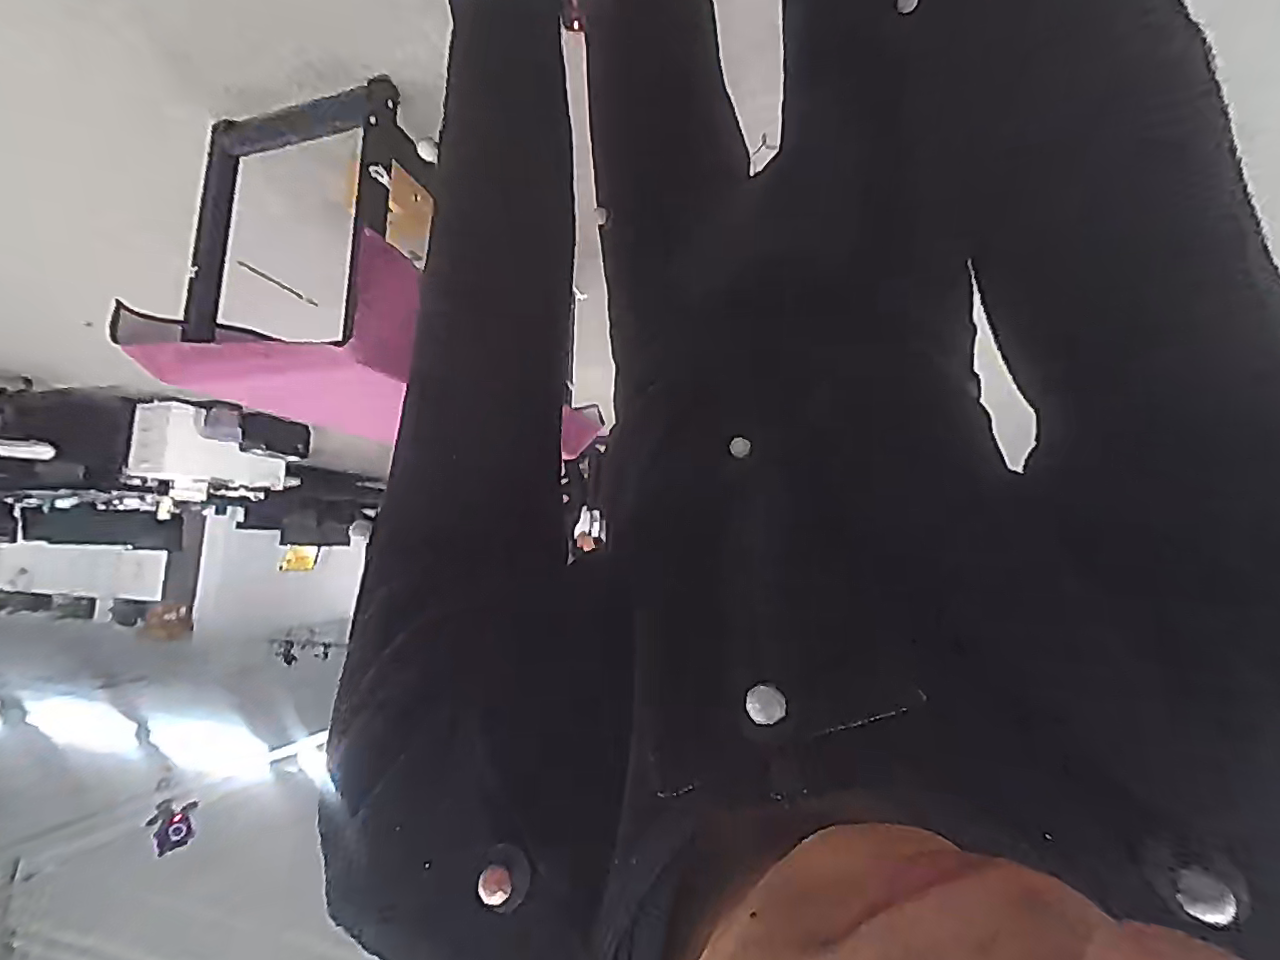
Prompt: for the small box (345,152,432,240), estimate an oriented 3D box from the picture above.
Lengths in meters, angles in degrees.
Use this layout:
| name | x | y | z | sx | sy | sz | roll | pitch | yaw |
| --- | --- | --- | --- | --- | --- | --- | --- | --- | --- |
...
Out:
| name | x | y | z | sx | sy | sz | roll | pitch | yaw |
| --- | --- | --- | --- | --- | --- | --- | --- | --- | --- |
| small box | -0.752 | -0.856 | 1.628 | 0.168 | 0.176 | 0.179 | 0 | 173 | 15 |
